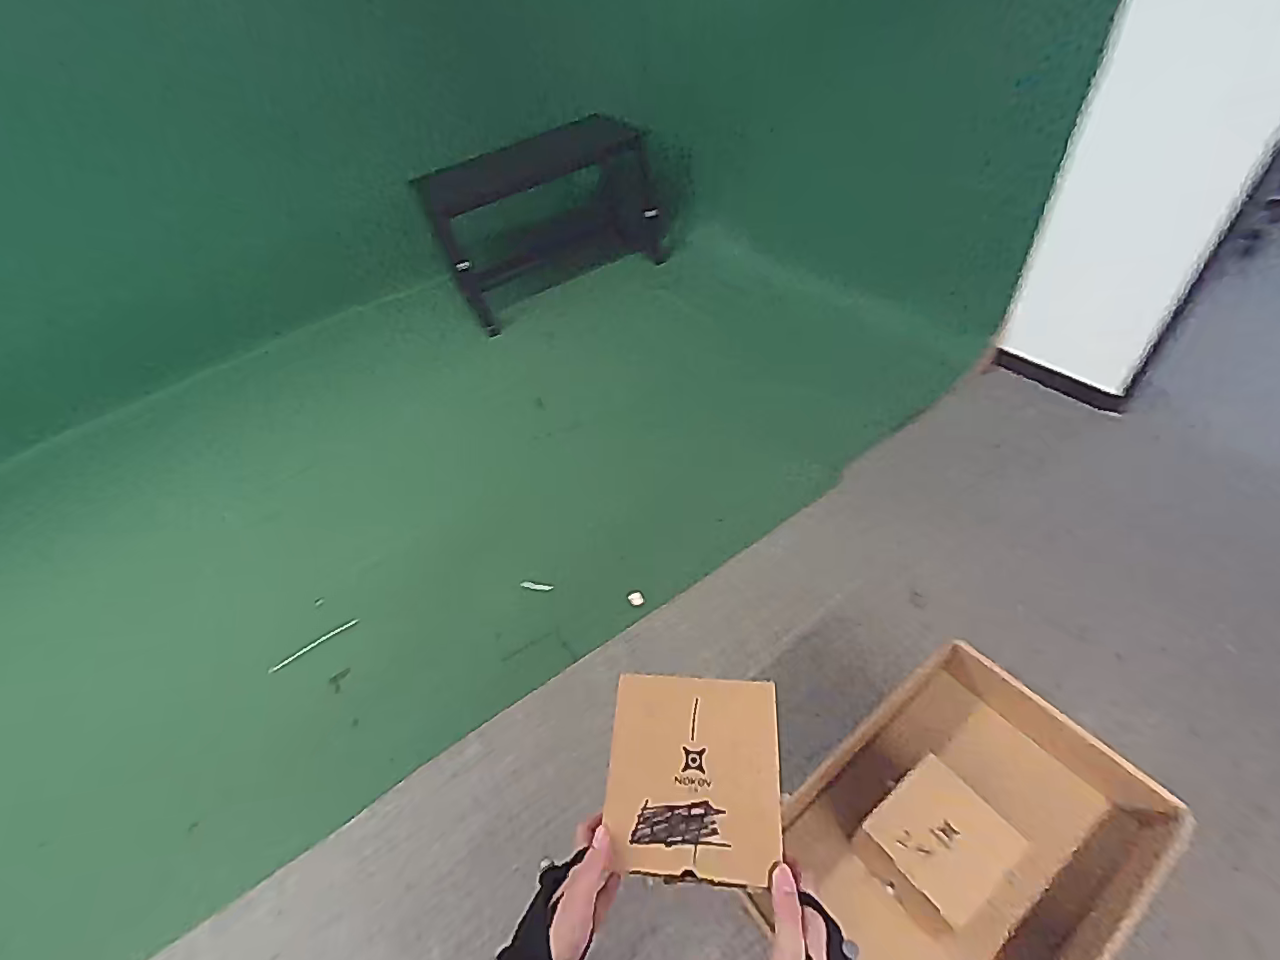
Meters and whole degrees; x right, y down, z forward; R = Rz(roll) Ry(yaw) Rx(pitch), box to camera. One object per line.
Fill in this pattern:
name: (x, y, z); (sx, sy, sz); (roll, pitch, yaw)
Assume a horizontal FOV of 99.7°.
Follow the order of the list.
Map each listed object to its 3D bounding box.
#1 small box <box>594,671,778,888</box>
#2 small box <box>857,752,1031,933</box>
small box: (0.056, 0.321, 0.582); (0.168, 0.176, 0.179); (0, 54, 8)
small box: (0.479, 0.590, 0.881); (0.179, 0.176, 0.168); (-33, 49, -18)
